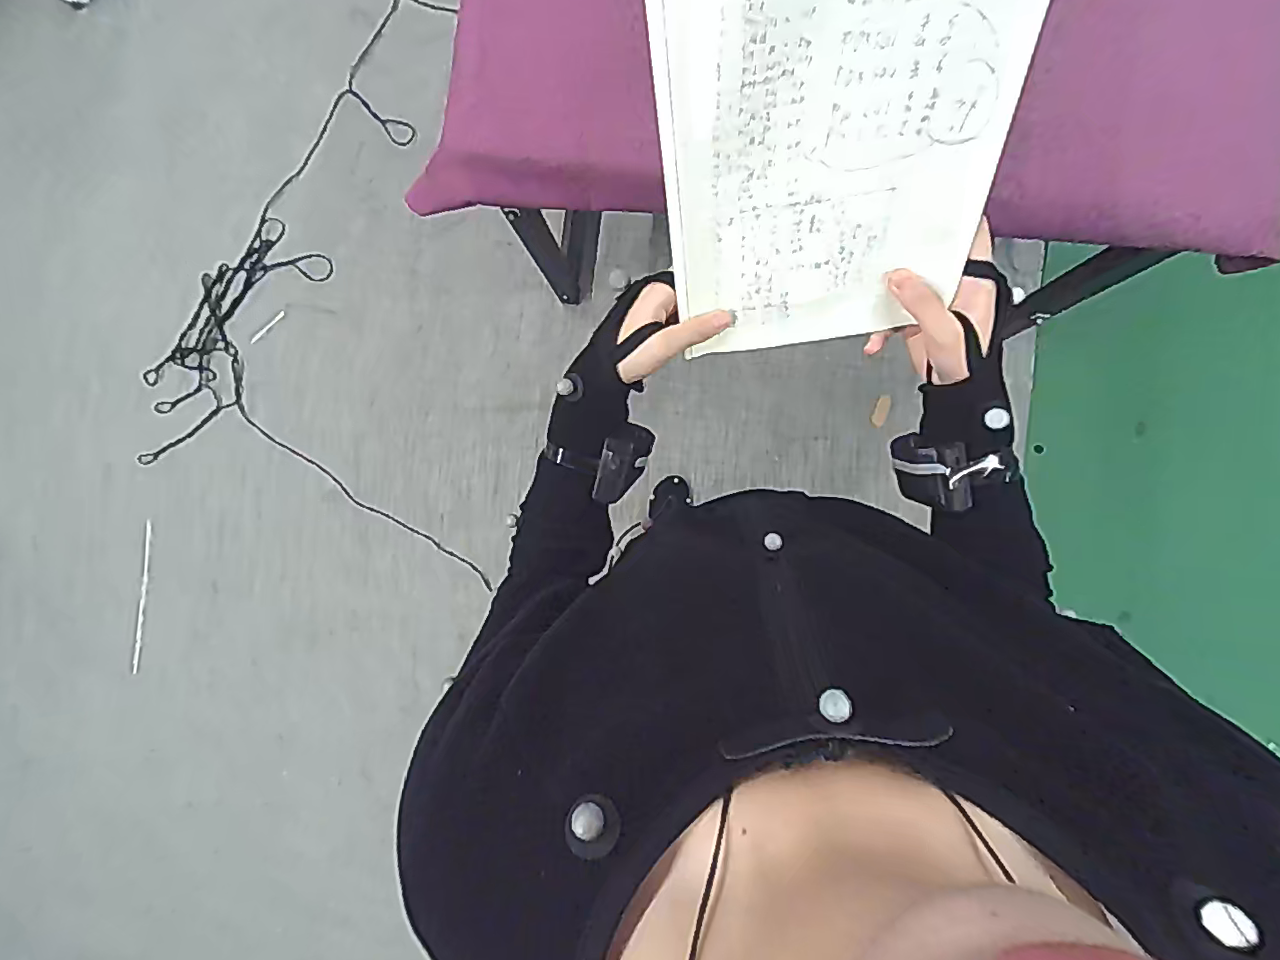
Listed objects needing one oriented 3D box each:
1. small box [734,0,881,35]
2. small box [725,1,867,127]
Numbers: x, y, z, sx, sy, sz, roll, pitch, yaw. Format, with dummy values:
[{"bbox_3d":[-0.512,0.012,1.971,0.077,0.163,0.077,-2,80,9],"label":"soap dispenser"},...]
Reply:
[{"bbox_3d":[0.194,-0.617,0.565,0.168,0.176,0.179,8,87,5],"label":"small box"},{"bbox_3d":[0.209,-0.616,0.730,0.168,0.176,0.179,8,89,5],"label":"small box"}]
